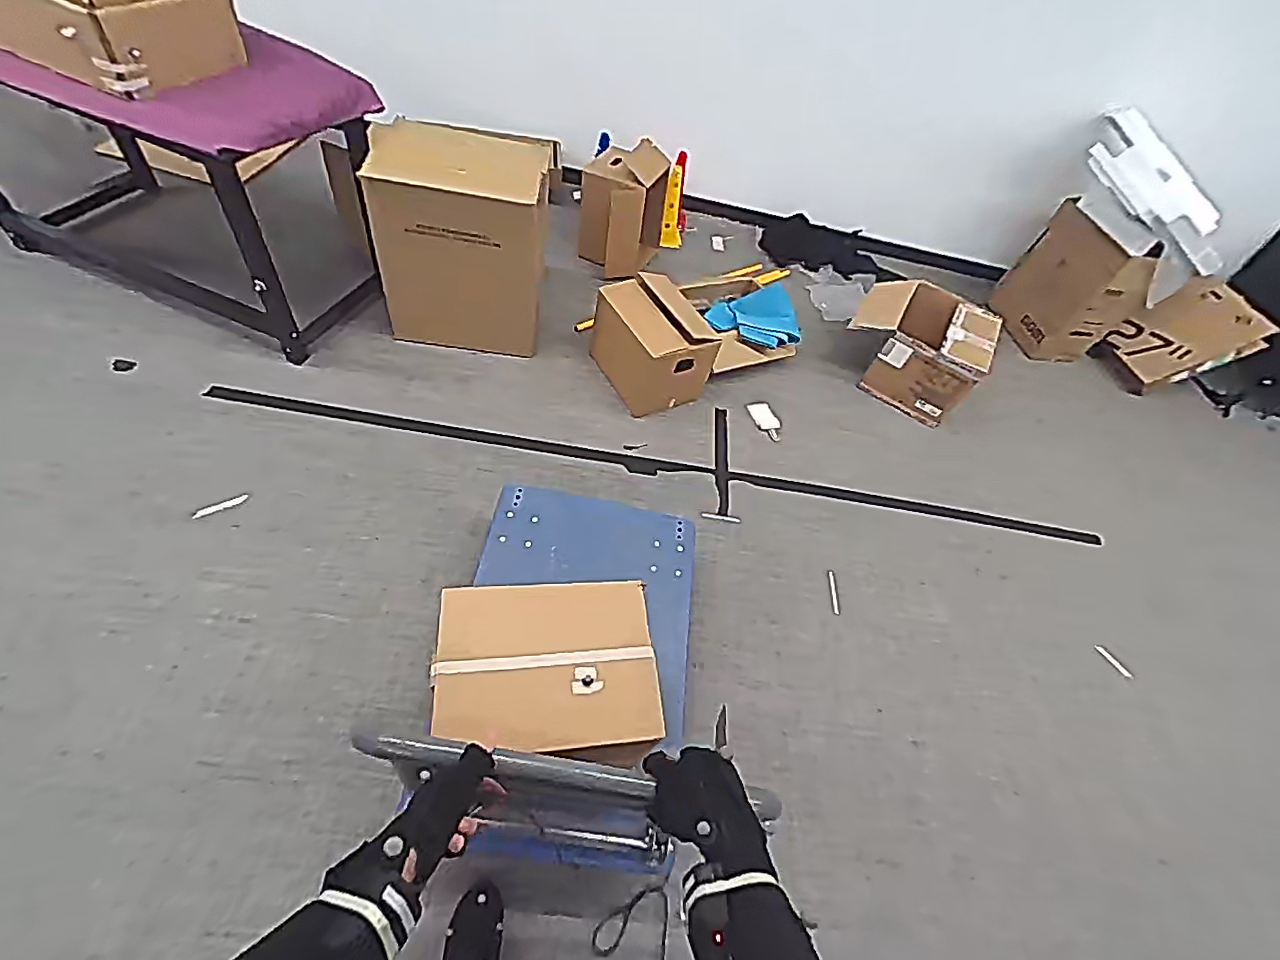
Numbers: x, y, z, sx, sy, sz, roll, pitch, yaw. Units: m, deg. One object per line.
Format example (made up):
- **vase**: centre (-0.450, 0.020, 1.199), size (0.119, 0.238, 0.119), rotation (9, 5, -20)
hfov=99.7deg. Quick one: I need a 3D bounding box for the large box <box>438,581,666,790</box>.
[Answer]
- **large box**: centre (-0.196, 0.429, 1.134), size (0.408, 0.320, 0.320), rotation (0, 54, -15)
